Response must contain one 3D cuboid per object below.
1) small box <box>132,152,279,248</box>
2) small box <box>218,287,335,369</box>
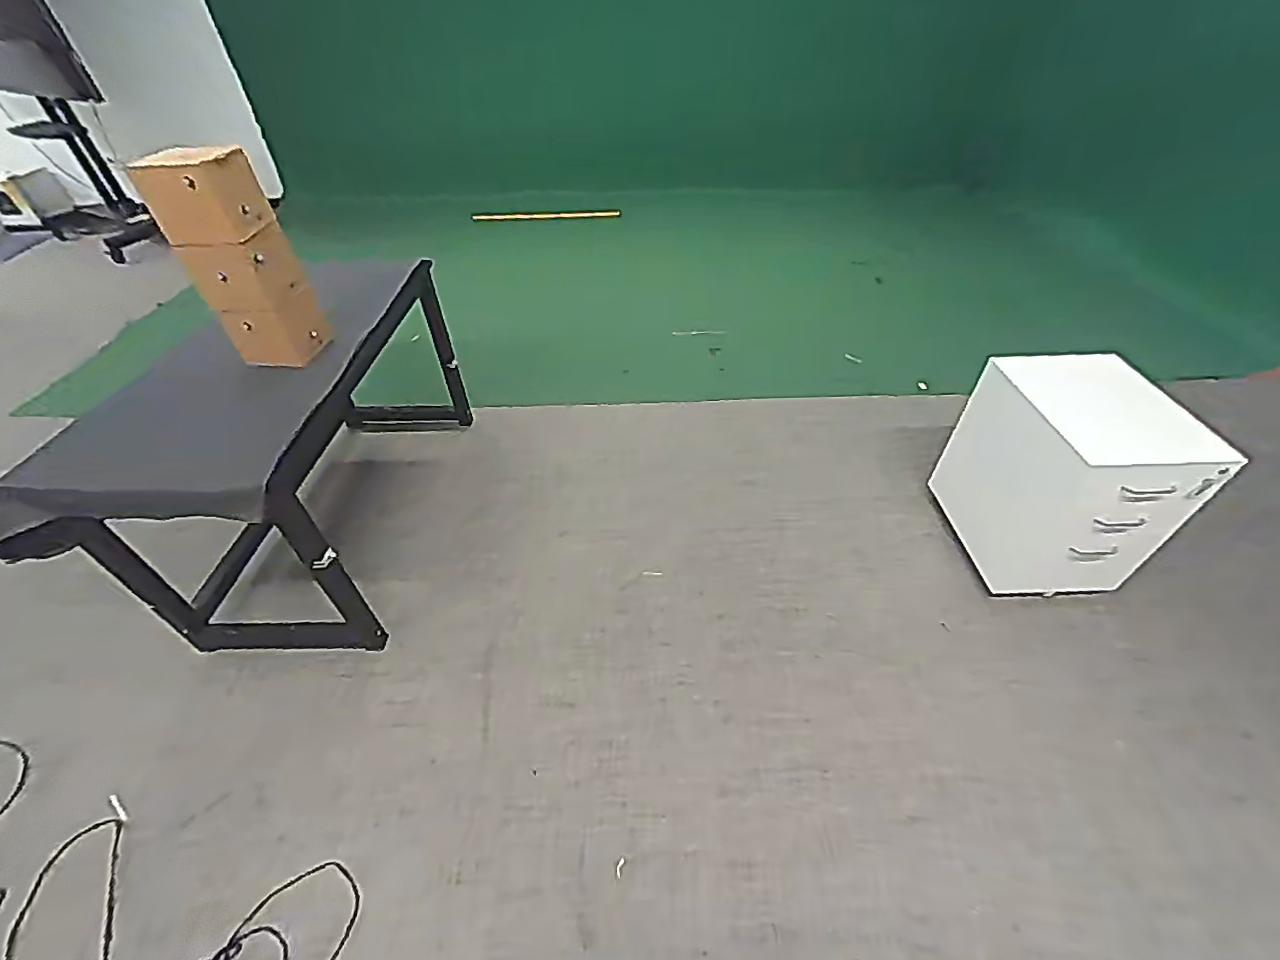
[{"bbox_3d":[-1.010,-0.658,1.276,0.179,0.176,0.168,-1,43,2],"label":"small box"},{"bbox_3d":[-0.997,-0.421,1.500,0.179,0.176,0.168,2,43,5],"label":"small box"}]
